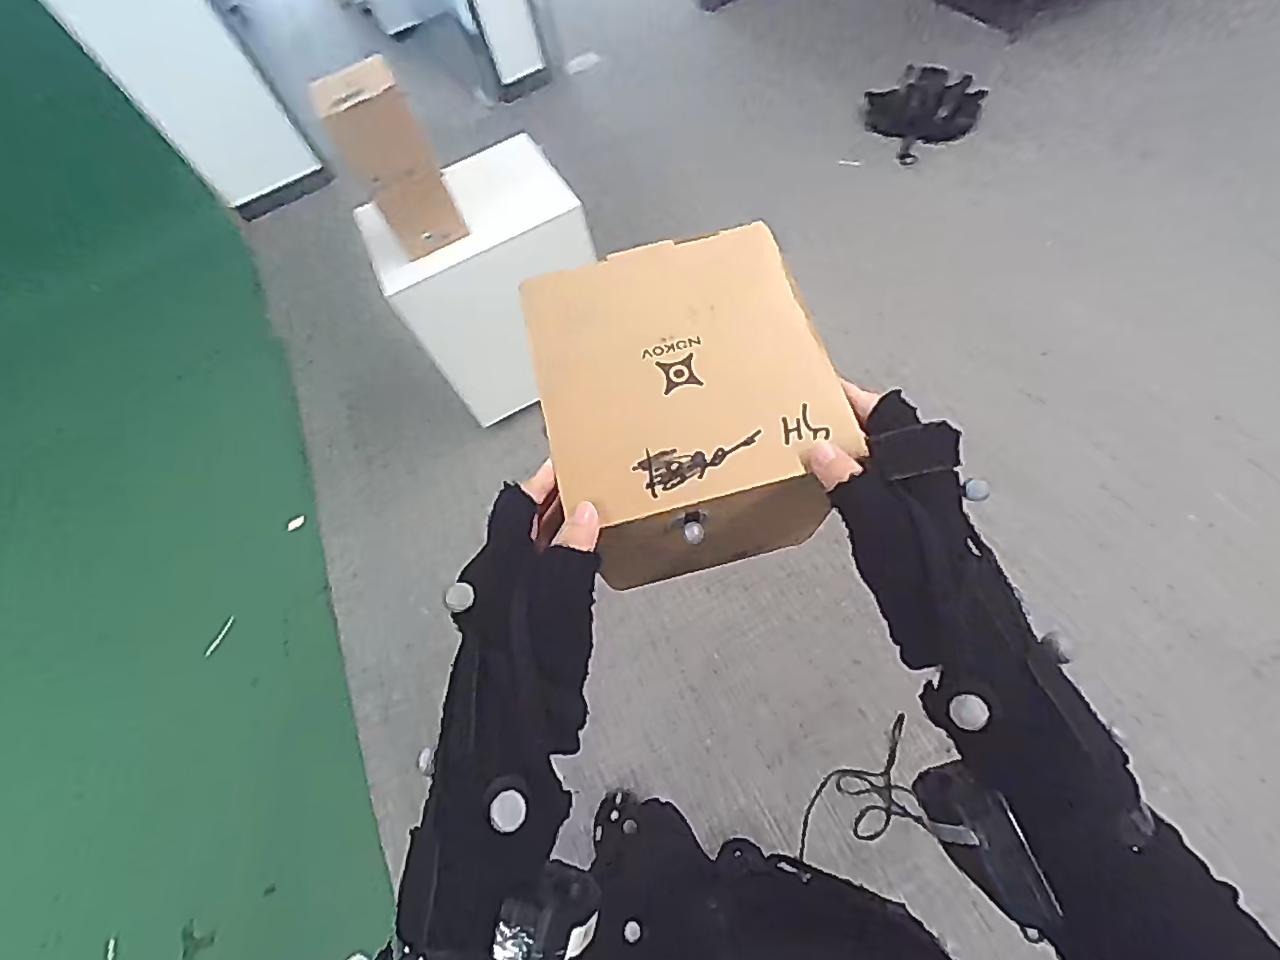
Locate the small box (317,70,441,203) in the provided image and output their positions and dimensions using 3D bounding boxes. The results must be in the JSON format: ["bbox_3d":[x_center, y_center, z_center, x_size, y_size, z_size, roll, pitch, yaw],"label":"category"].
[{"bbox_3d":[-0.551,-0.725,1.158,0.168,0.176,0.179,-27,58,-4],"label":"small box"}]

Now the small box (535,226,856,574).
[{"bbox_3d":[0.031,-0.046,0.404,0.168,0.176,0.179,-14,66,1],"label":"small box"}]

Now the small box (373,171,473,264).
[{"bbox_3d":[-0.526,-0.652,1.285,0.168,0.176,0.179,-30,61,-6],"label":"small box"}]
